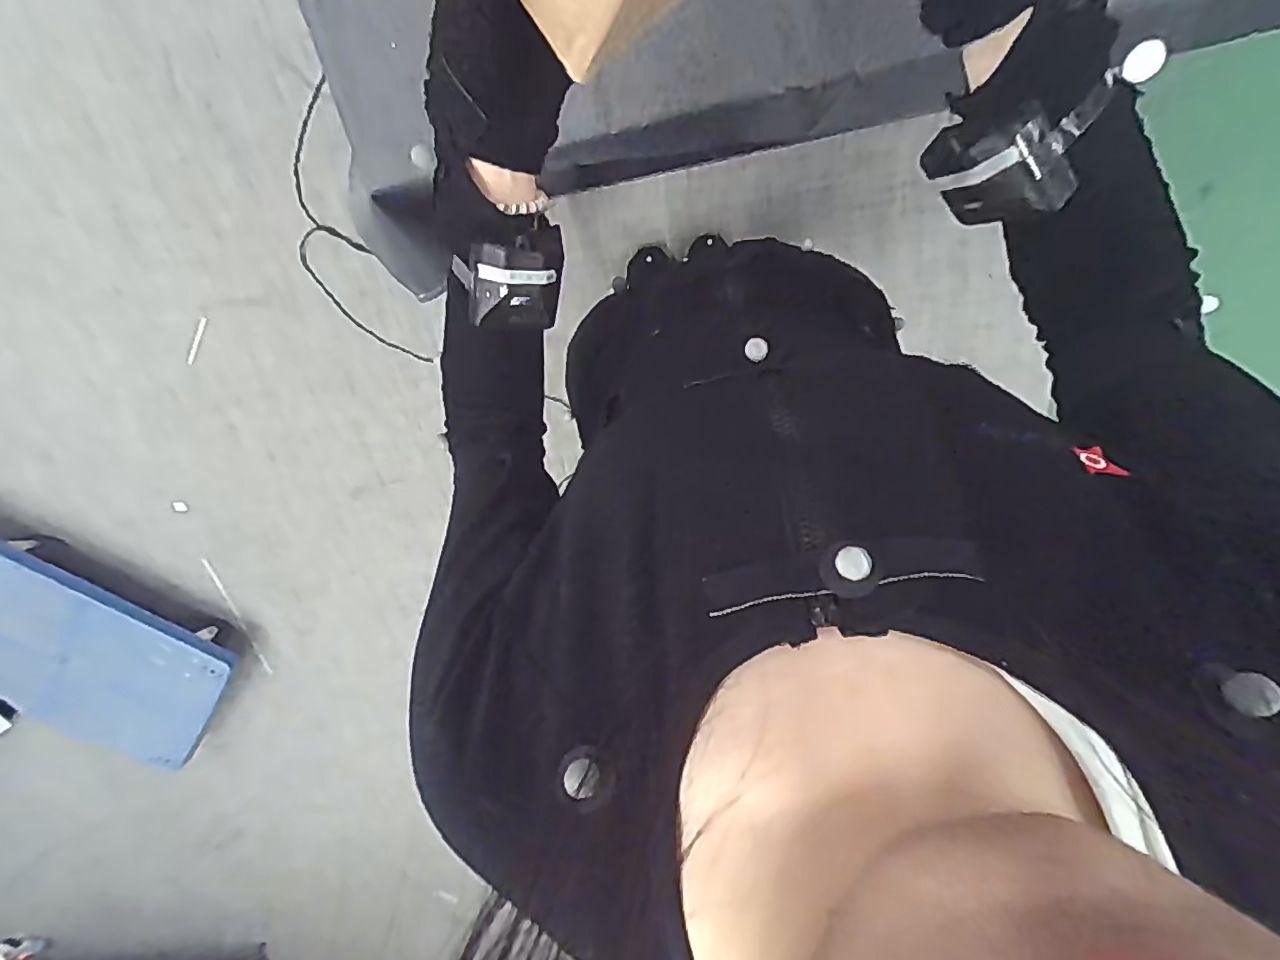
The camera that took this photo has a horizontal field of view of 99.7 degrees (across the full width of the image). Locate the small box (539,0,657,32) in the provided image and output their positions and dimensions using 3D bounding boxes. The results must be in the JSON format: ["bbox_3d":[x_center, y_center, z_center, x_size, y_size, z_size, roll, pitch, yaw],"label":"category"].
[{"bbox_3d":[0.001,-0.320,0.198,0.168,0.176,0.179,-41,111,-4],"label":"small box"}]
